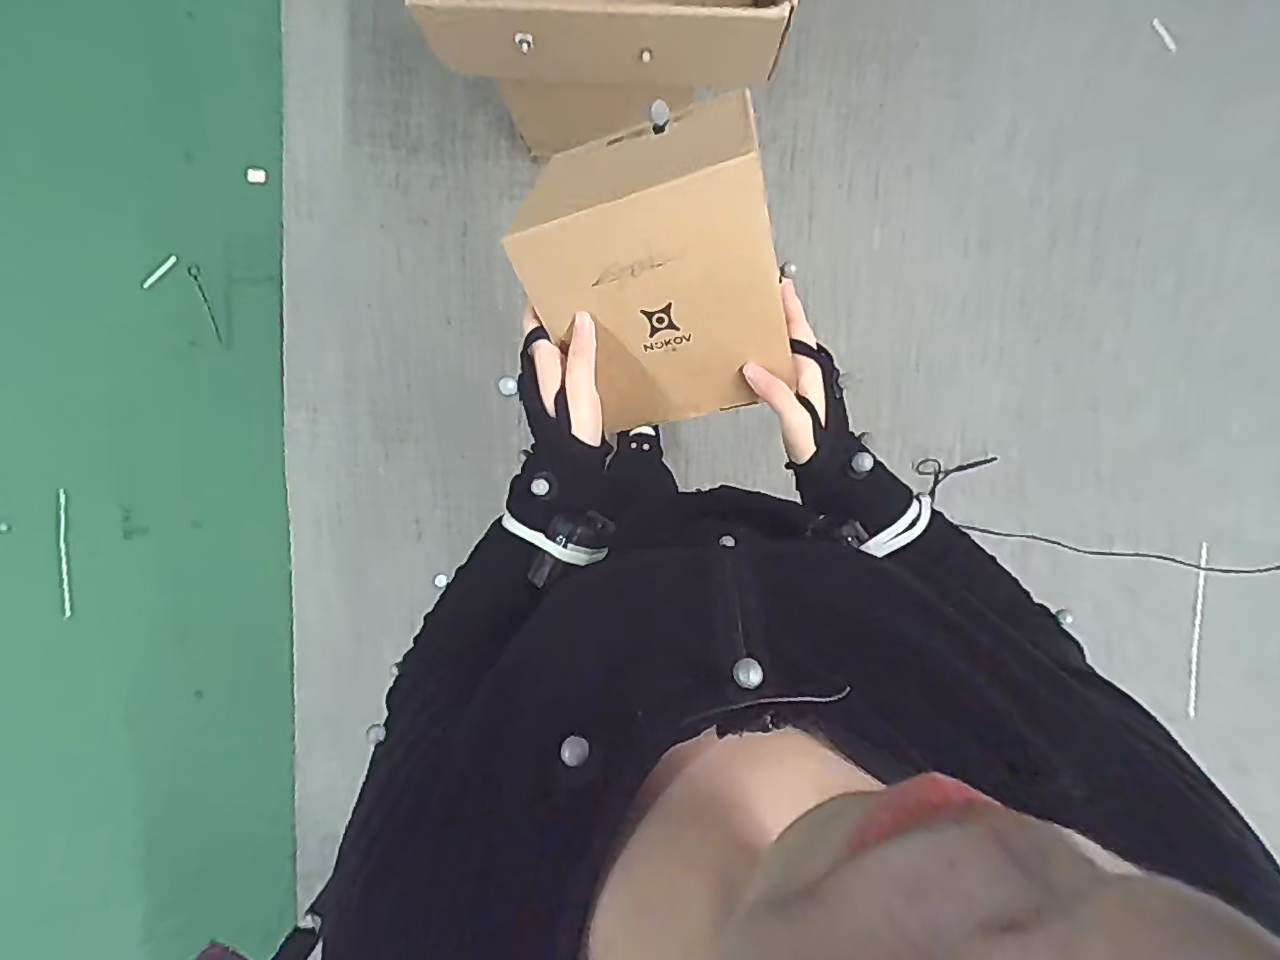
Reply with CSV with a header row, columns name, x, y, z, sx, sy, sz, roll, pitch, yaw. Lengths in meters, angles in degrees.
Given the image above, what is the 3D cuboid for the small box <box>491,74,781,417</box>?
name,x,y,z,sx,sy,sz,roll,pitch,yaw
small box,0.016,-0.179,0.430,0.168,0.176,0.179,-9,135,17
